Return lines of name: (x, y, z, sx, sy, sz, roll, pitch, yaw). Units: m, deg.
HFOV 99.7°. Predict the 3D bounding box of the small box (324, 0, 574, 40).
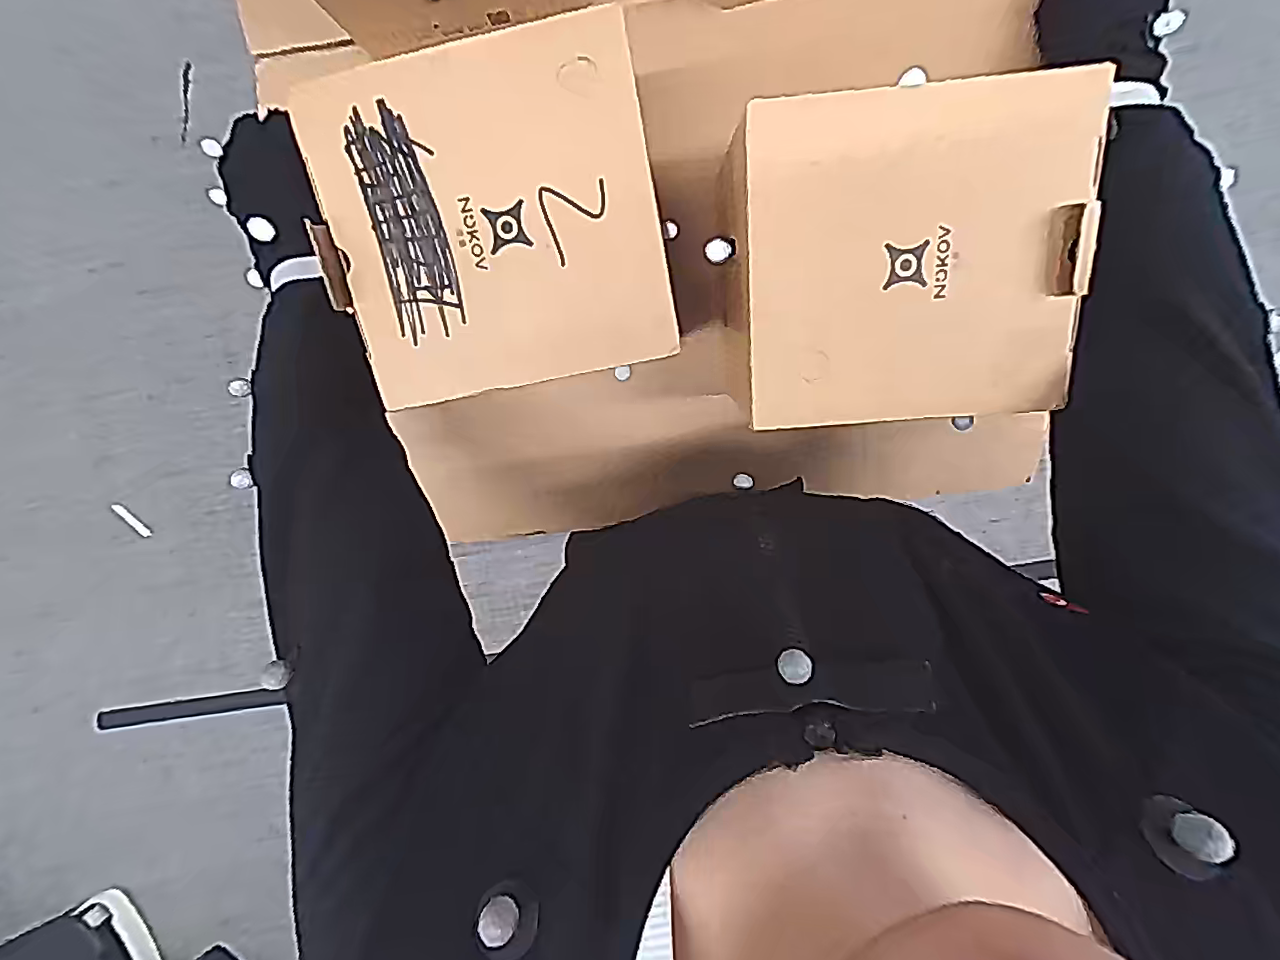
small box: (-0.137, -0.388, 0.302, 0.168, 0.176, 0.179, -7, 104, 3)
